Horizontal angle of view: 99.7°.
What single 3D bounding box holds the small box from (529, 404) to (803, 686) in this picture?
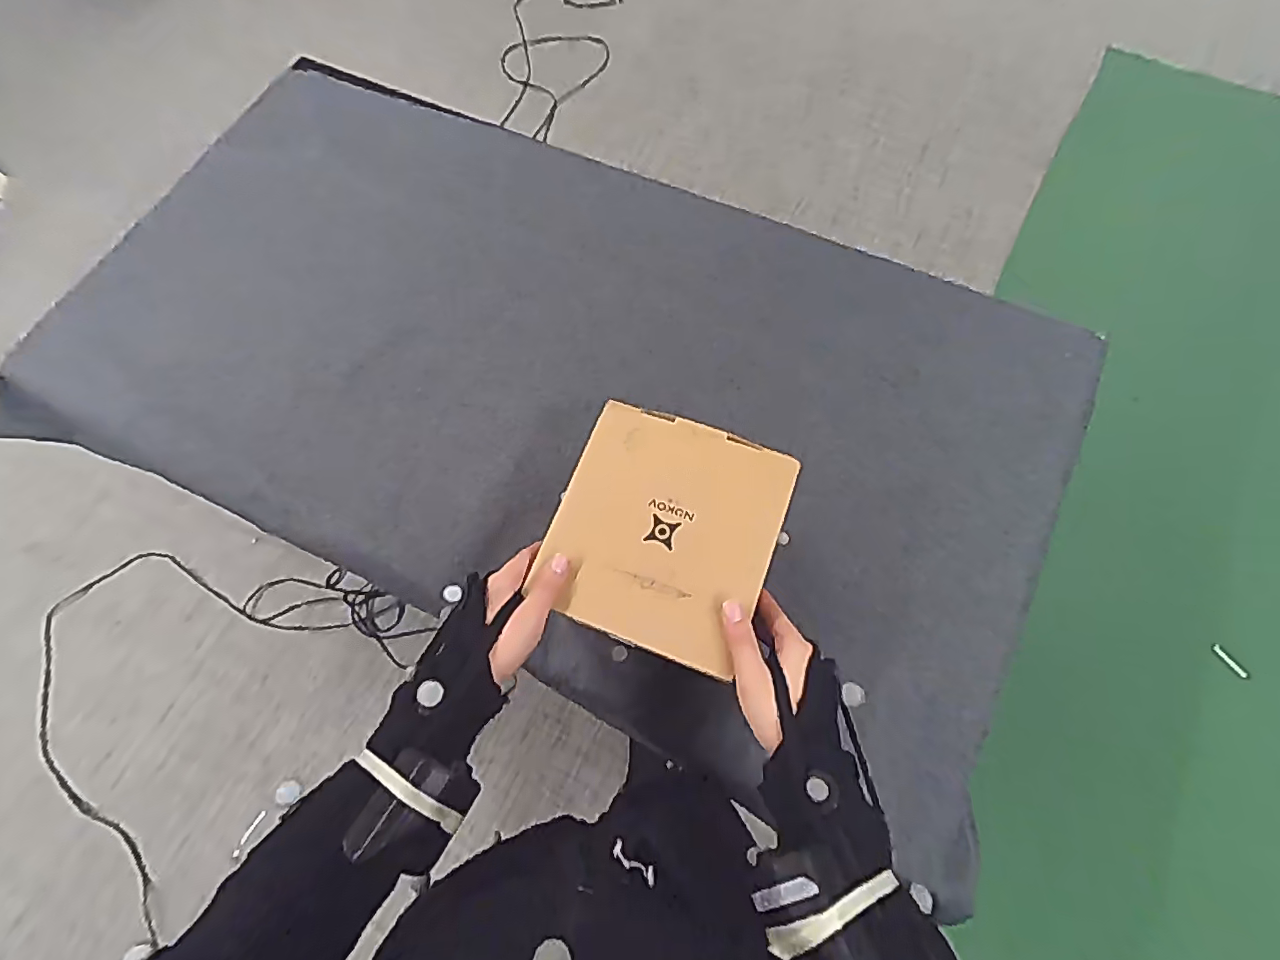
[{"bbox_3d":[0.027,0.065,0.481,0.168,0.176,0.179,18,73,11],"label":"small box"}]
